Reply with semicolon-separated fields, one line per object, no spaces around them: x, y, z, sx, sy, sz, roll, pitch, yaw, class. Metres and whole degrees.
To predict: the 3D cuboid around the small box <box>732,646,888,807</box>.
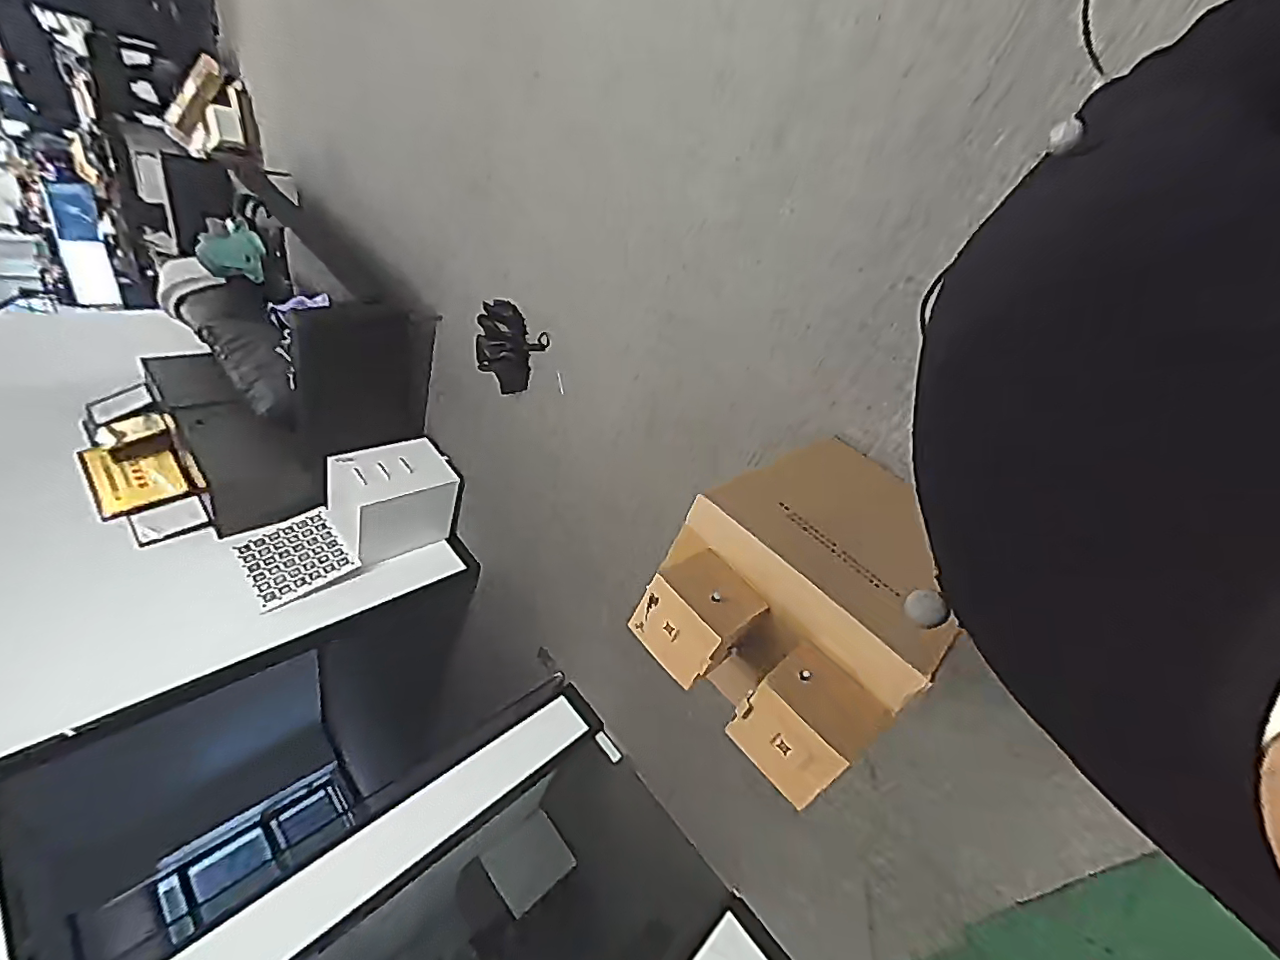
0.302;0.423;0.963;0.179;0.176;0.168;39;127;26;small box

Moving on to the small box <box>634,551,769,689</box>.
0.124;0.269;1.077;0.179;0.176;0.168;41;126;25;small box
